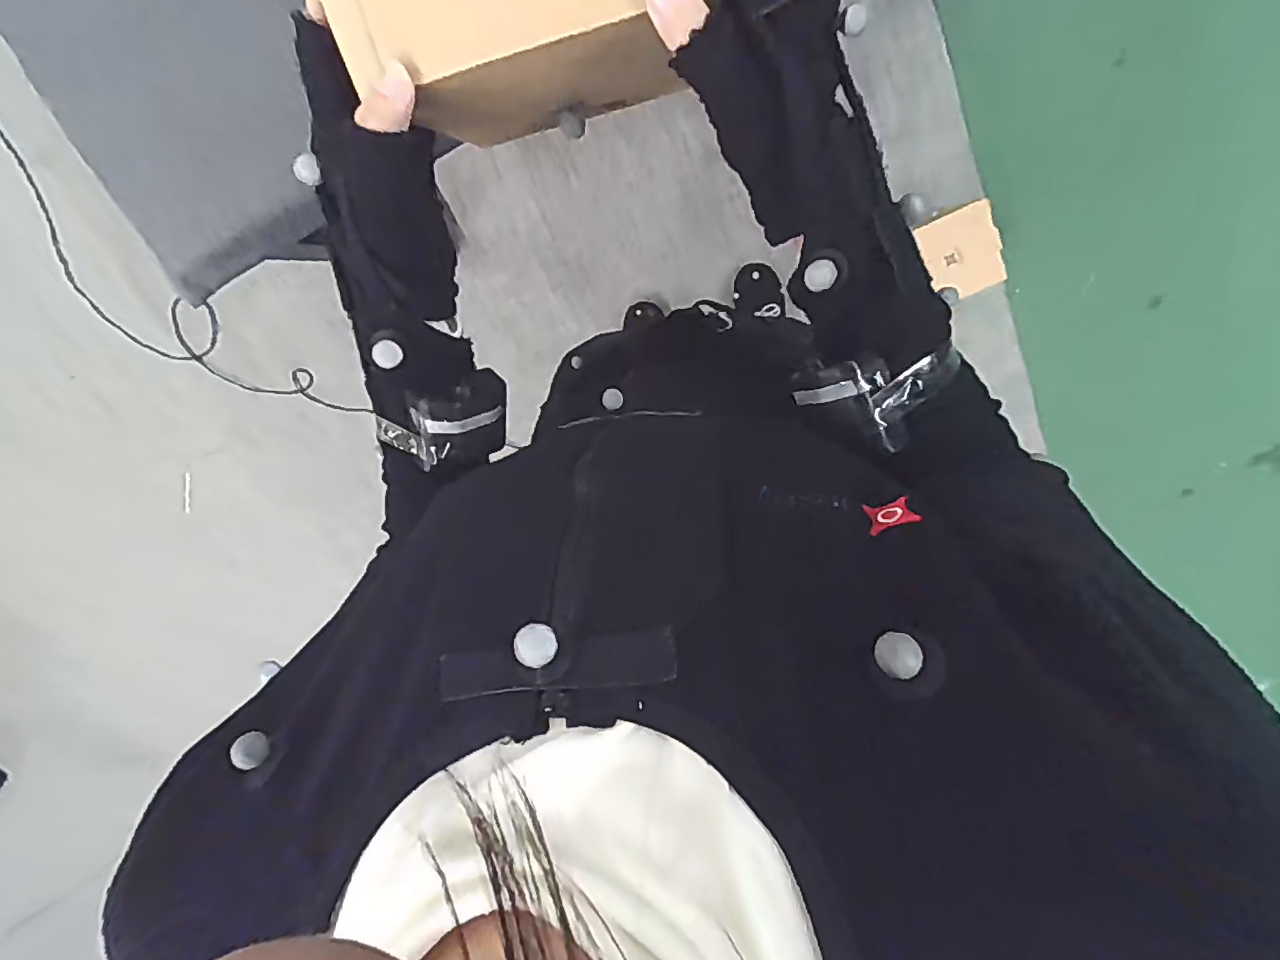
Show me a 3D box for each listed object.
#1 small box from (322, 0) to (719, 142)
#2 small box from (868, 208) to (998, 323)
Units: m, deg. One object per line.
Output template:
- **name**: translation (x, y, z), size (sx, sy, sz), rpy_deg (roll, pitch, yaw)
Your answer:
- **small box**: translation (-0.058, -0.294, 0.267), size (0.168, 0.176, 0.179), rpy_deg (-9, 115, 9)
- **small box**: translation (0.619, -0.455, 1.158), size (0.179, 0.176, 0.168), rpy_deg (-22, 106, 14)
